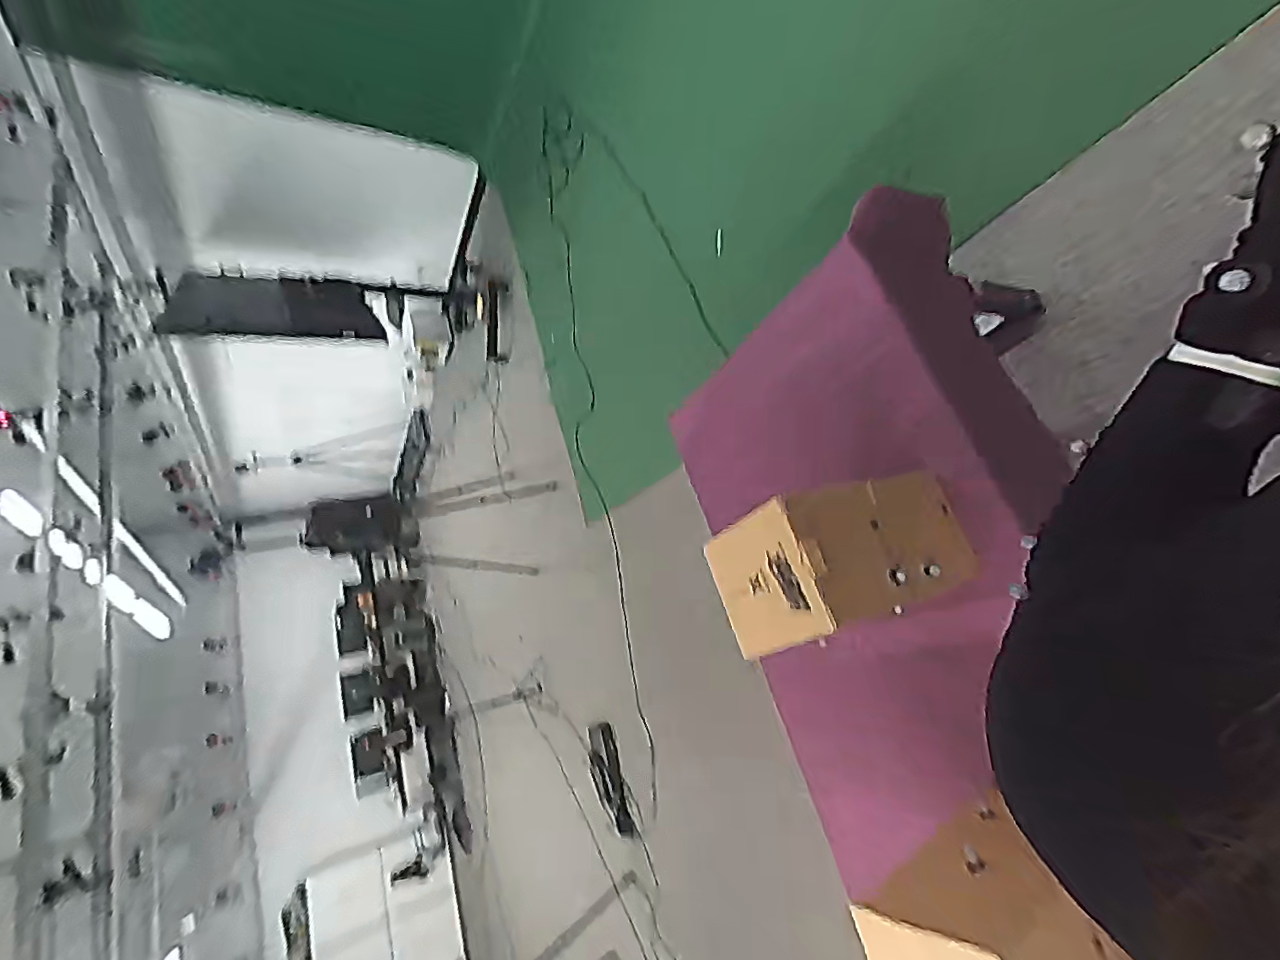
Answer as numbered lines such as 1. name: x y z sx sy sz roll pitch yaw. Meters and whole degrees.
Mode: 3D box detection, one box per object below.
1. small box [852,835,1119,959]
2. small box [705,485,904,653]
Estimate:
1. small box: 0.372 0.511 0.575 0.179 0.176 0.168 -38 65 54
2. small box: 0.225 0.118 0.737 0.179 0.176 0.168 -47 57 52
